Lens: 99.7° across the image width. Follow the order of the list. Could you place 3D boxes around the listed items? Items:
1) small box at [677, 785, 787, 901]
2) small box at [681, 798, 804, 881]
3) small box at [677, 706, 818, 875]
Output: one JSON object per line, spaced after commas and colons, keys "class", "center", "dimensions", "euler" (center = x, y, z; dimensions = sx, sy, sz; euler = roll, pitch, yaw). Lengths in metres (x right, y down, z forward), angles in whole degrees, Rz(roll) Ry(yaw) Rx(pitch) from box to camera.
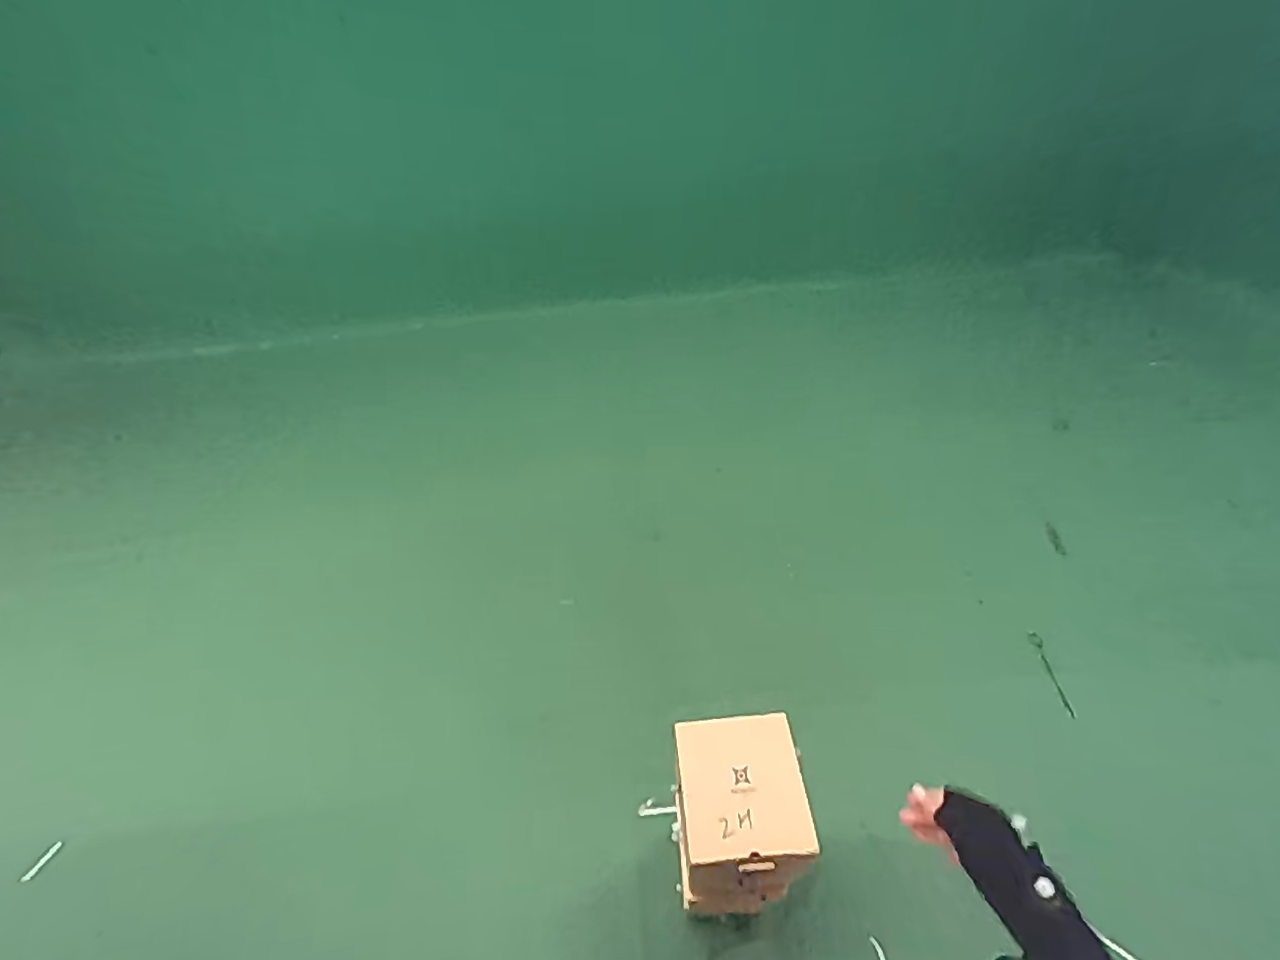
{"class": "small box", "center": [0.167, 0.686, 1.030], "dimensions": [0.179, 0.176, 0.168], "euler": [-5, 47, 0]}
{"class": "small box", "center": [0.161, 0.564, 0.916], "dimensions": [0.179, 0.176, 0.168], "euler": [-4, 45, 1]}
{"class": "small box", "center": [0.144, 0.456, 0.795], "dimensions": [0.168, 0.176, 0.179], "euler": [-6, 47, 1]}
